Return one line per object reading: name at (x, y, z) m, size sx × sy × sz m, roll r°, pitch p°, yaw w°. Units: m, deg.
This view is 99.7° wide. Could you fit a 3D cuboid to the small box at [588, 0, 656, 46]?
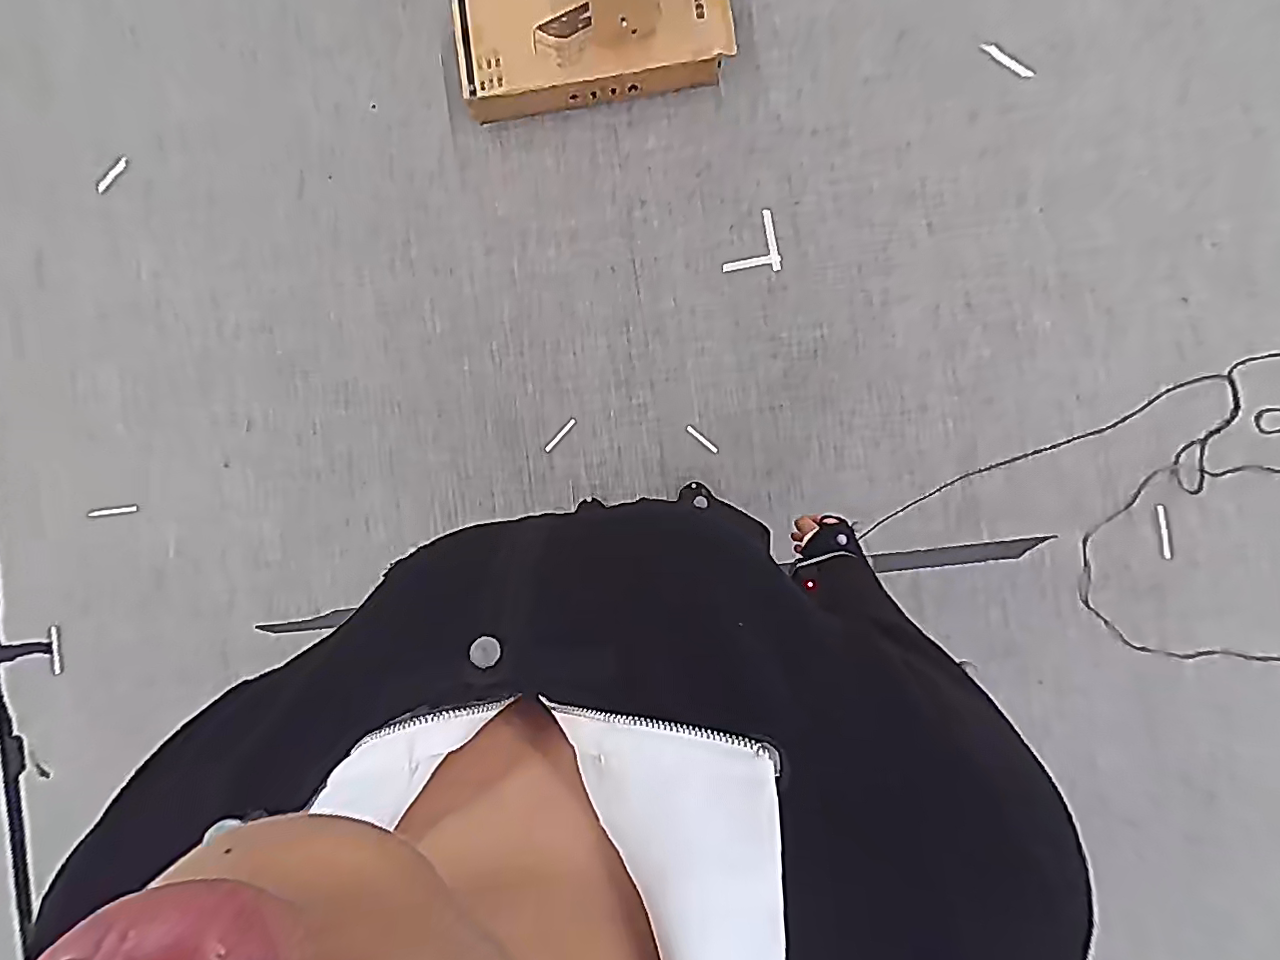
small box at (-0.053, -1.251, 1.358) m, size 0.168 × 0.176 × 0.179 m, roll -8°, pitch 87°, yaw 4°
